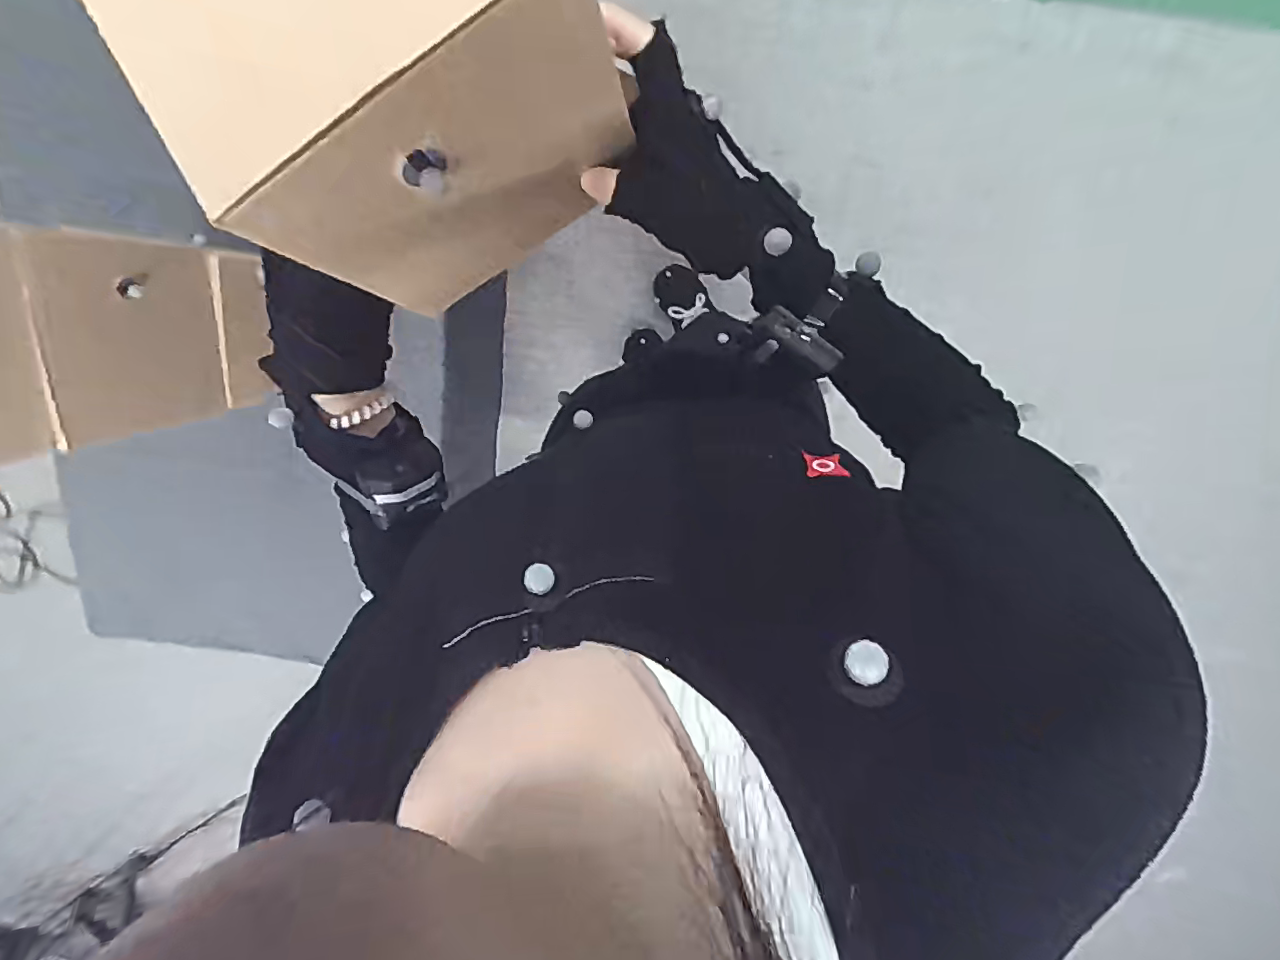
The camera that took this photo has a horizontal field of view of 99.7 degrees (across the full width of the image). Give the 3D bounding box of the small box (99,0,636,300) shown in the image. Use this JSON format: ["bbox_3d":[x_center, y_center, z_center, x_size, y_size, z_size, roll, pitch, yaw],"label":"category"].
[{"bbox_3d":[-0.120,-0.220,0.277,0.179,0.176,0.168,-29,90,8],"label":"small box"}]

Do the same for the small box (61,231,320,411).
[{"bbox_3d":[-0.524,-0.190,0.655,0.179,0.176,0.168,9,108,1],"label":"small box"}]

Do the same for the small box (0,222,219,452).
[{"bbox_3d":[-0.540,-0.138,0.502,0.168,0.176,0.179,7,108,3],"label":"small box"}]
